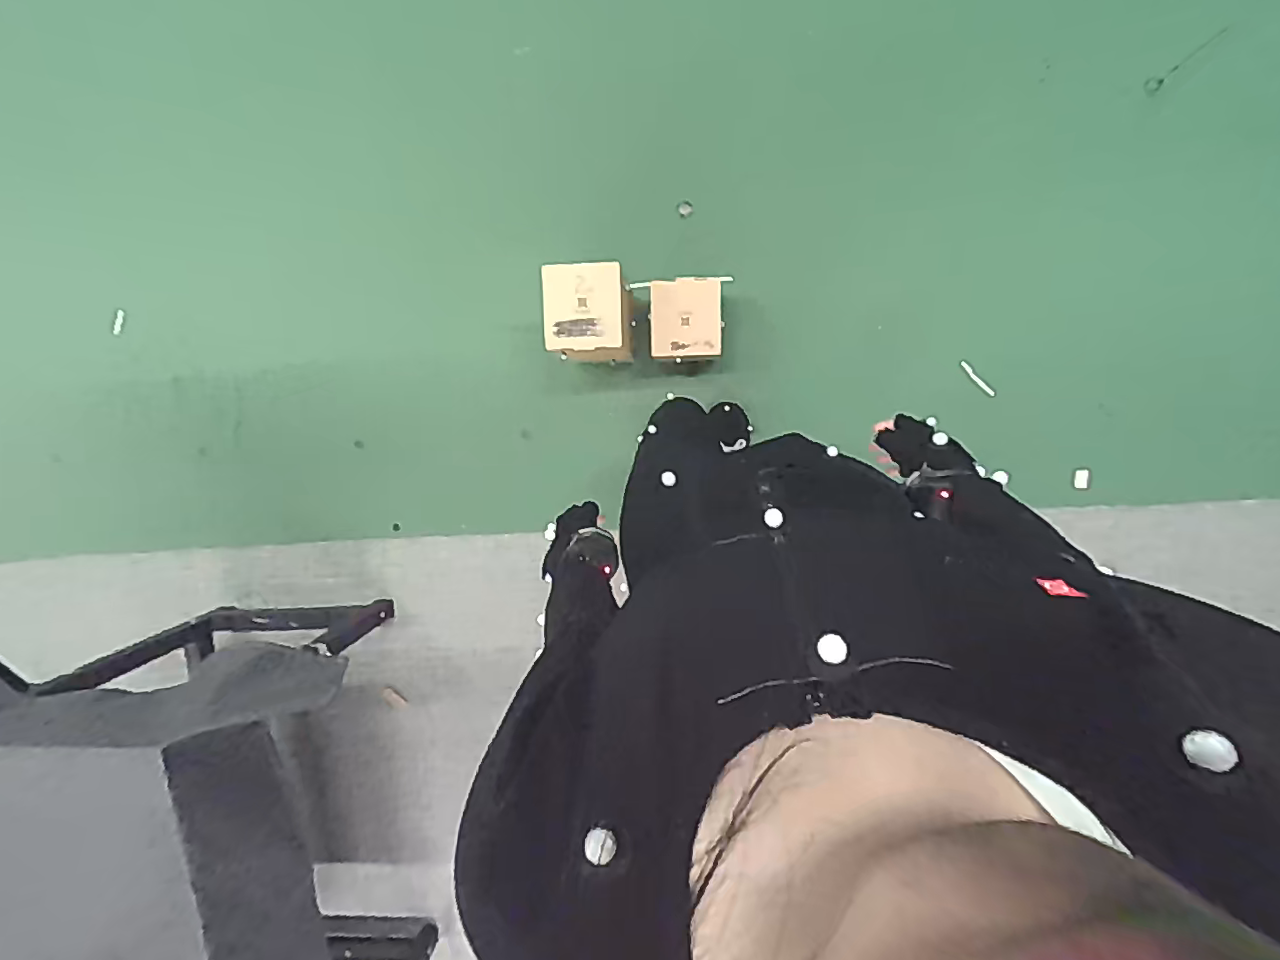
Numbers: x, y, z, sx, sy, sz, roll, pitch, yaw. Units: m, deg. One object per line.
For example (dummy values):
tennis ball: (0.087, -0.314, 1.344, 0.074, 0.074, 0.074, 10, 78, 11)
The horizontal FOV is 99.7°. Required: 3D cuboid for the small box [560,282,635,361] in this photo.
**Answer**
small box: (-0.102, -0.395, 1.372, 0.168, 0.176, 0.179, 2, 98, 5)
